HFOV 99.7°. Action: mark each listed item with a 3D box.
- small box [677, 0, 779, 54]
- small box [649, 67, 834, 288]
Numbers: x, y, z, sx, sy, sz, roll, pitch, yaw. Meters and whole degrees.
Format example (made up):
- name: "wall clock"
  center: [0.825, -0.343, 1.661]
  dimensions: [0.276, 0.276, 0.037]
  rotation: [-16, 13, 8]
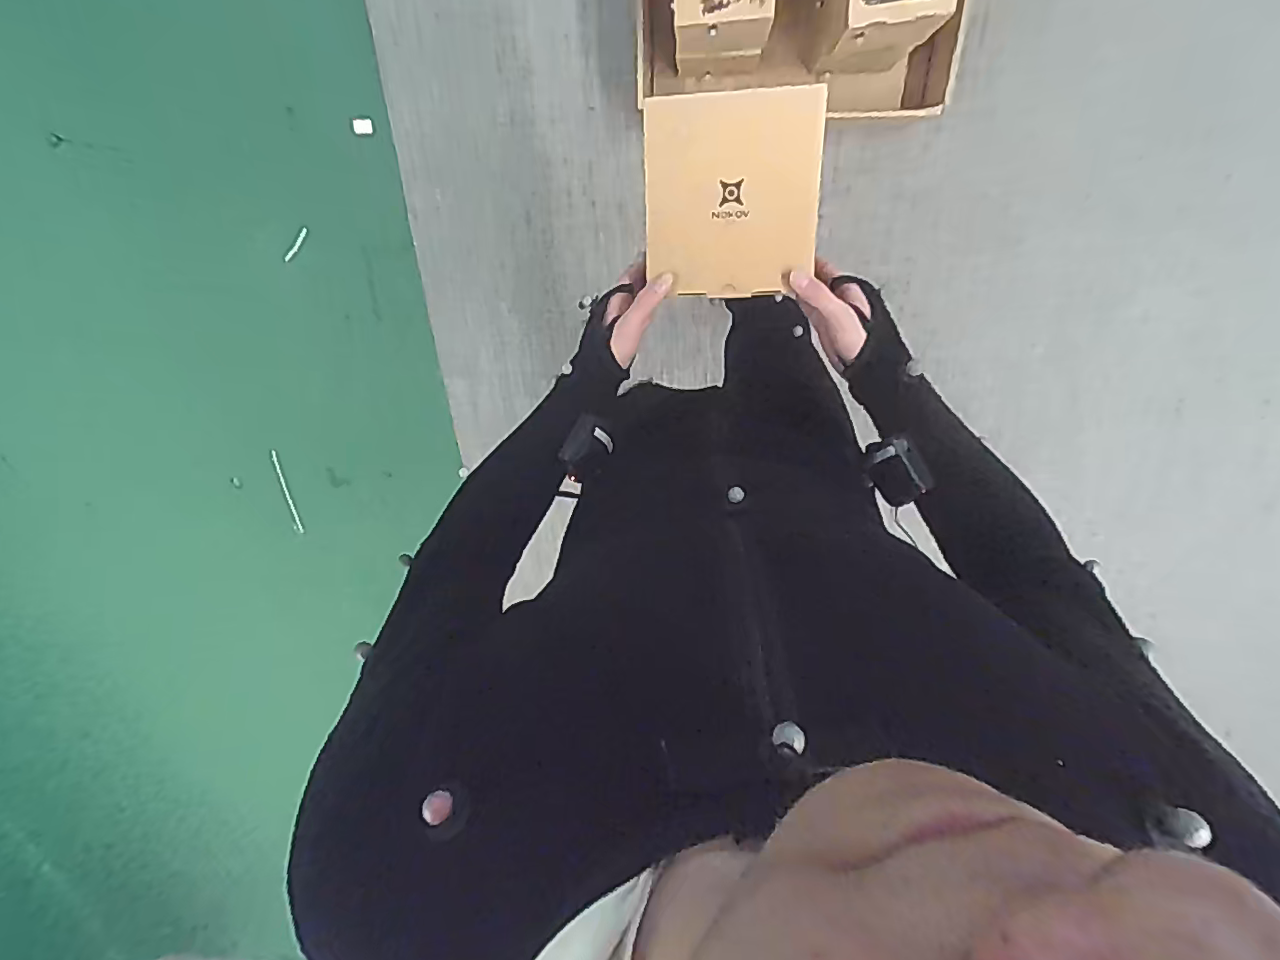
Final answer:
- name: "small box"
  center: [0.149, -0.863, 0.919]
  dimensions: [0.168, 0.176, 0.179]
  rotation: [1, 114, 7]
- name: "small box"
  center: [0.099, -0.300, 0.576]
  dimensions: [0.168, 0.176, 0.179]
  rotation: [1, 110, 8]
